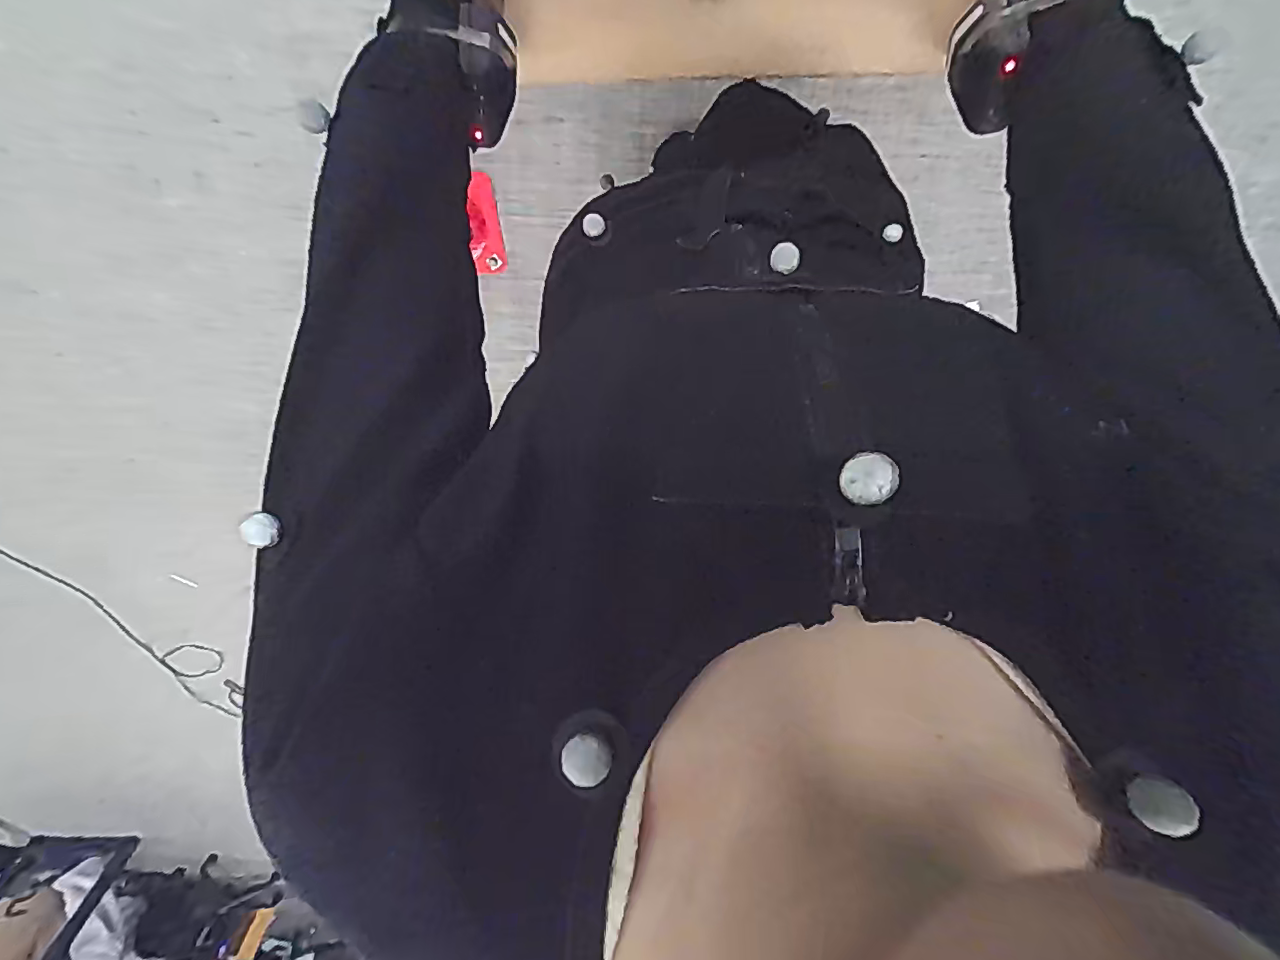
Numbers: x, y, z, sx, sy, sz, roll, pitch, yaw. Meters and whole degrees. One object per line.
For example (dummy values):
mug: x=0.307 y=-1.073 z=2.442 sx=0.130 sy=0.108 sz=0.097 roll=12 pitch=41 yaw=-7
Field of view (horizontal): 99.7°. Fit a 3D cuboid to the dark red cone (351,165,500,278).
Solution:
dark red cone: x=-0.406 y=-0.440 z=0.978 sx=0.202 sy=0.394 sz=0.201 roll=-4 pitch=122 yaw=5
